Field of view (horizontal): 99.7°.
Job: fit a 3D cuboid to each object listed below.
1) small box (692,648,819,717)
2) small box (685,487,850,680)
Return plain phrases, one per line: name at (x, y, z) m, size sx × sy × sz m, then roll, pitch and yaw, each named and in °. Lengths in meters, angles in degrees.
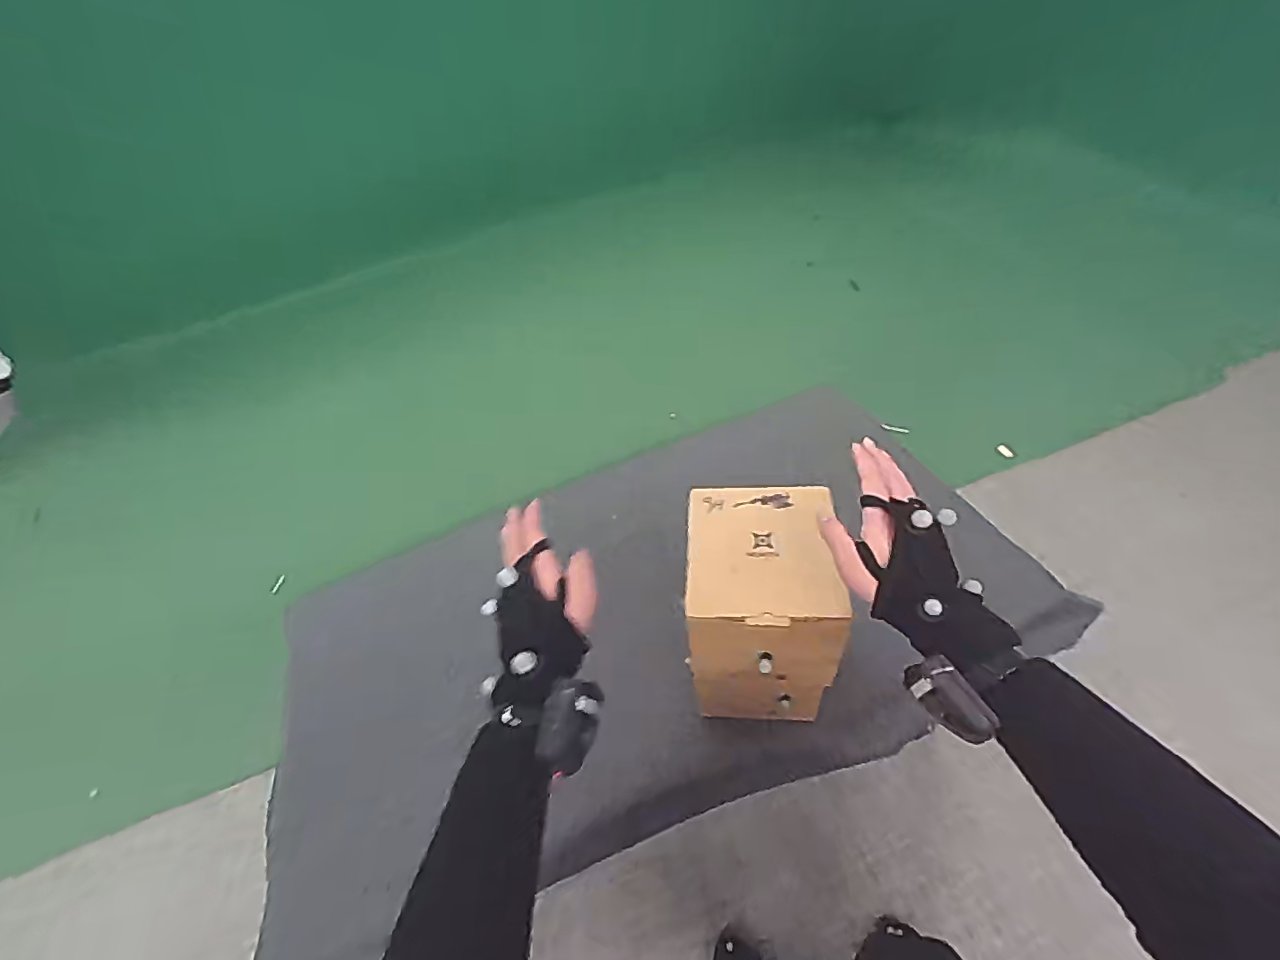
small box at (0.164, 0.227, 0.782) m, size 0.168 × 0.176 × 0.179 m, roll -1°, pitch 48°, yaw 8°
small box at (0.146, 0.128, 0.653) m, size 0.168 × 0.176 × 0.179 m, roll -1°, pitch 50°, yaw 9°
